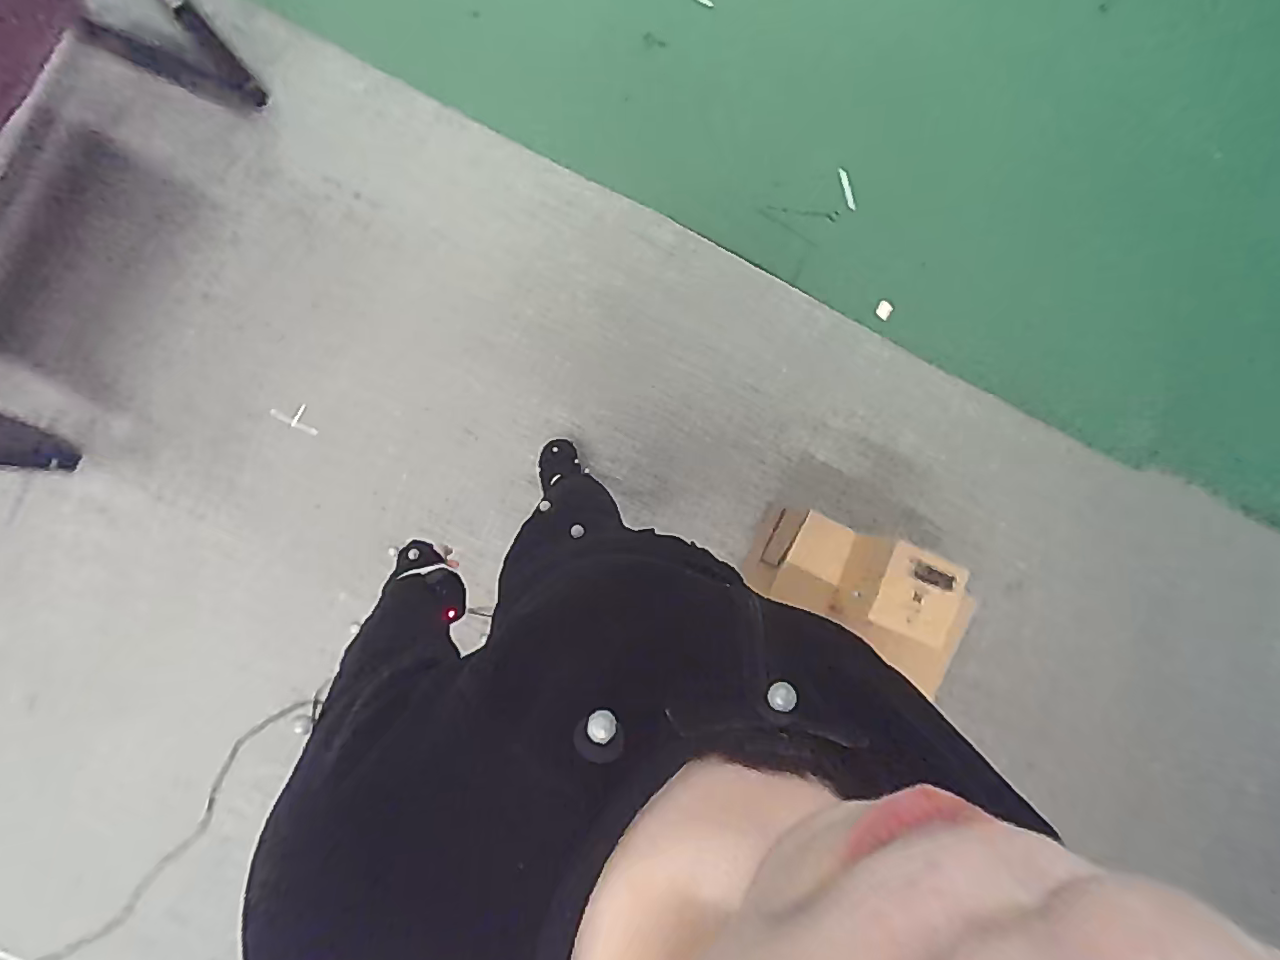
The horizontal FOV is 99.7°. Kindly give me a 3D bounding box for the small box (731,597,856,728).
[{"bbox_3d":[0.305,0.367,1.120,0.168,0.176,0.179,29,87,-2],"label":"small box"}]
